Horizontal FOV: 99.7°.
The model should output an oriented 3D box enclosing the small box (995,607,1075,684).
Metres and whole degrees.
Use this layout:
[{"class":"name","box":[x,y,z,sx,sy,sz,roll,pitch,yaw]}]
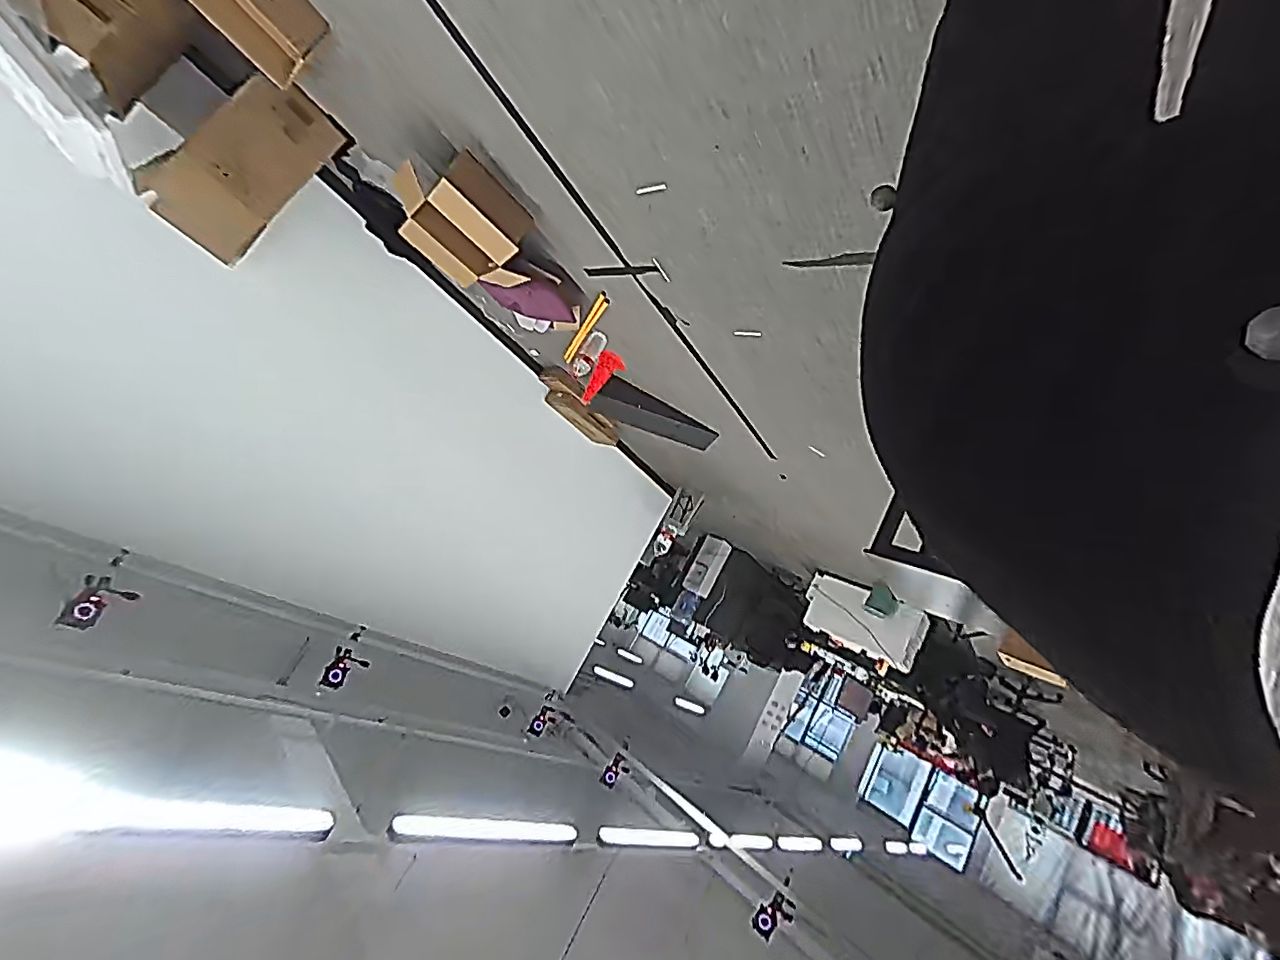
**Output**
[{"class":"small box","box":[1.309,0.540,1.784,0.179,0.176,0.168,15,162,48]}]
